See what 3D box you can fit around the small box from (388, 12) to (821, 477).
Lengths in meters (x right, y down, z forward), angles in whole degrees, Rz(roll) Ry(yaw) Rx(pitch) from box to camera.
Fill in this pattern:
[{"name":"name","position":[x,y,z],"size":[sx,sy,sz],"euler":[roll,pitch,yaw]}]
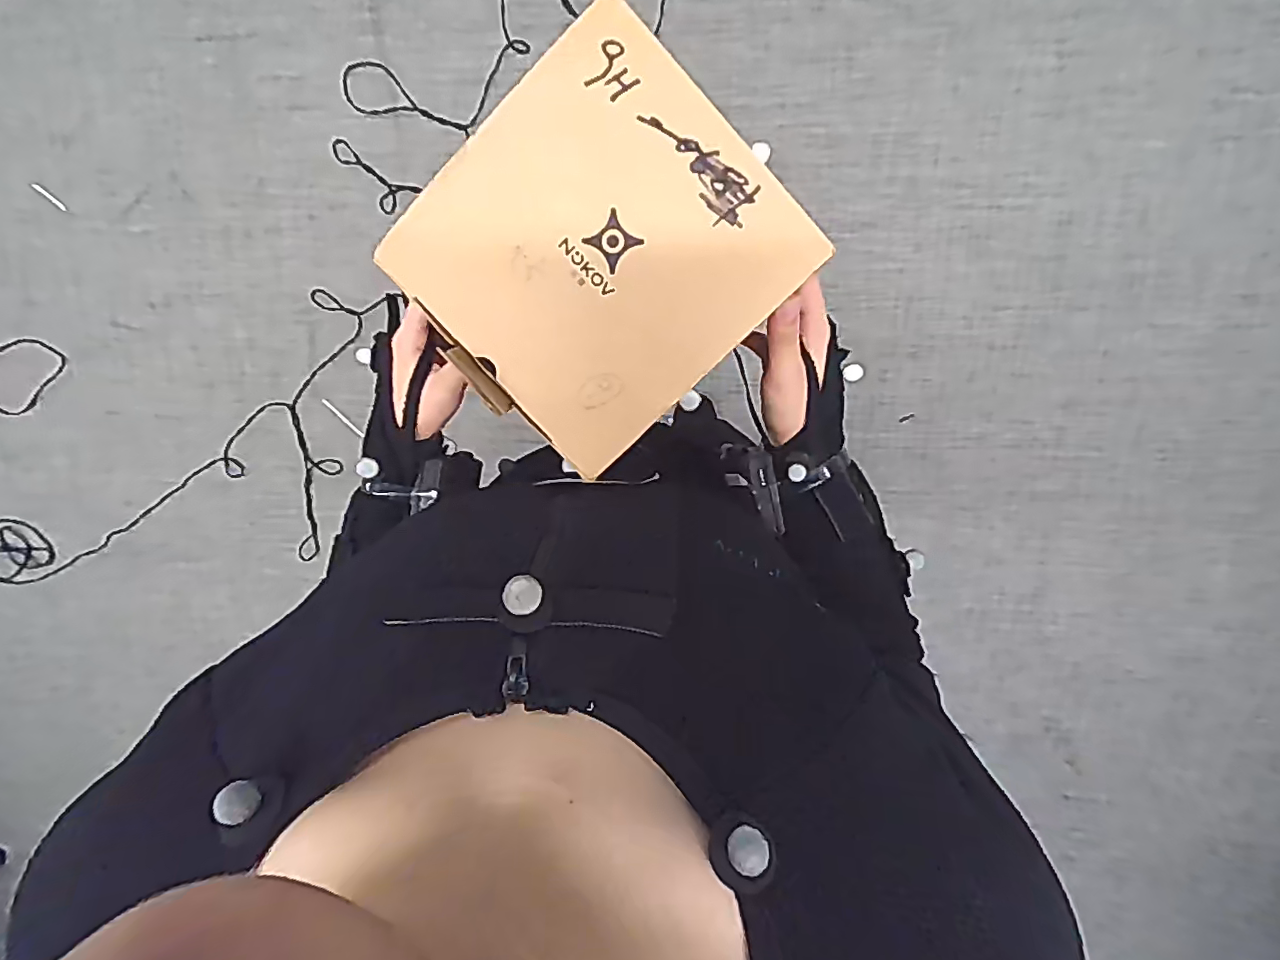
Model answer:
[{"name":"small box","position":[-0.016,-0.128,0.363],"size":[0.179,0.176,0.168],"euler":[-43,96,9]}]
